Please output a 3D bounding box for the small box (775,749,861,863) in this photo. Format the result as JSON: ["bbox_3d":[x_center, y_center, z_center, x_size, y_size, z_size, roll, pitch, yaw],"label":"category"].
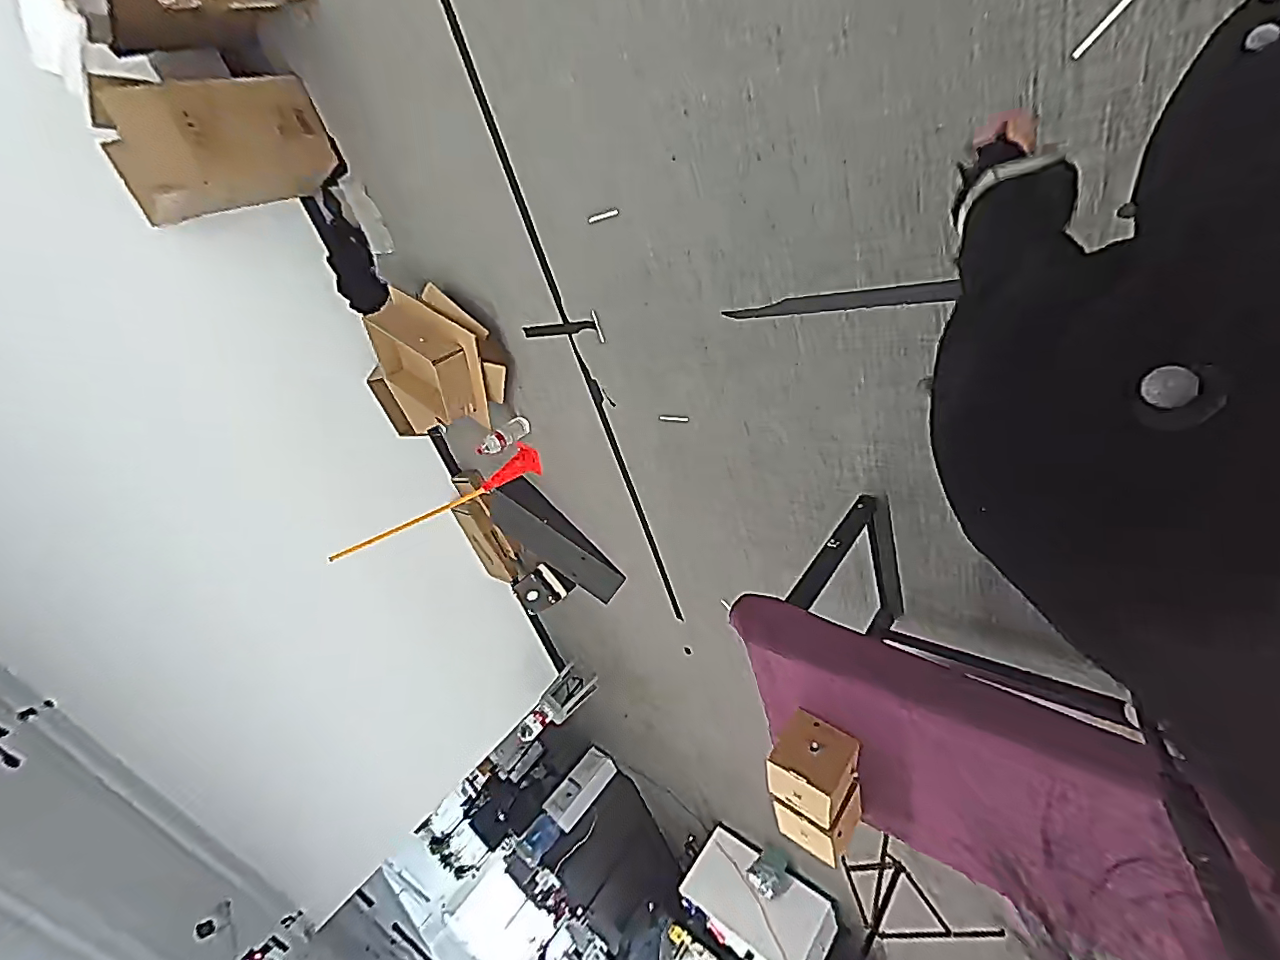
[{"bbox_3d":[0.491,0.883,1.476,0.168,0.176,0.179,14,133,41],"label":"small box"}]
